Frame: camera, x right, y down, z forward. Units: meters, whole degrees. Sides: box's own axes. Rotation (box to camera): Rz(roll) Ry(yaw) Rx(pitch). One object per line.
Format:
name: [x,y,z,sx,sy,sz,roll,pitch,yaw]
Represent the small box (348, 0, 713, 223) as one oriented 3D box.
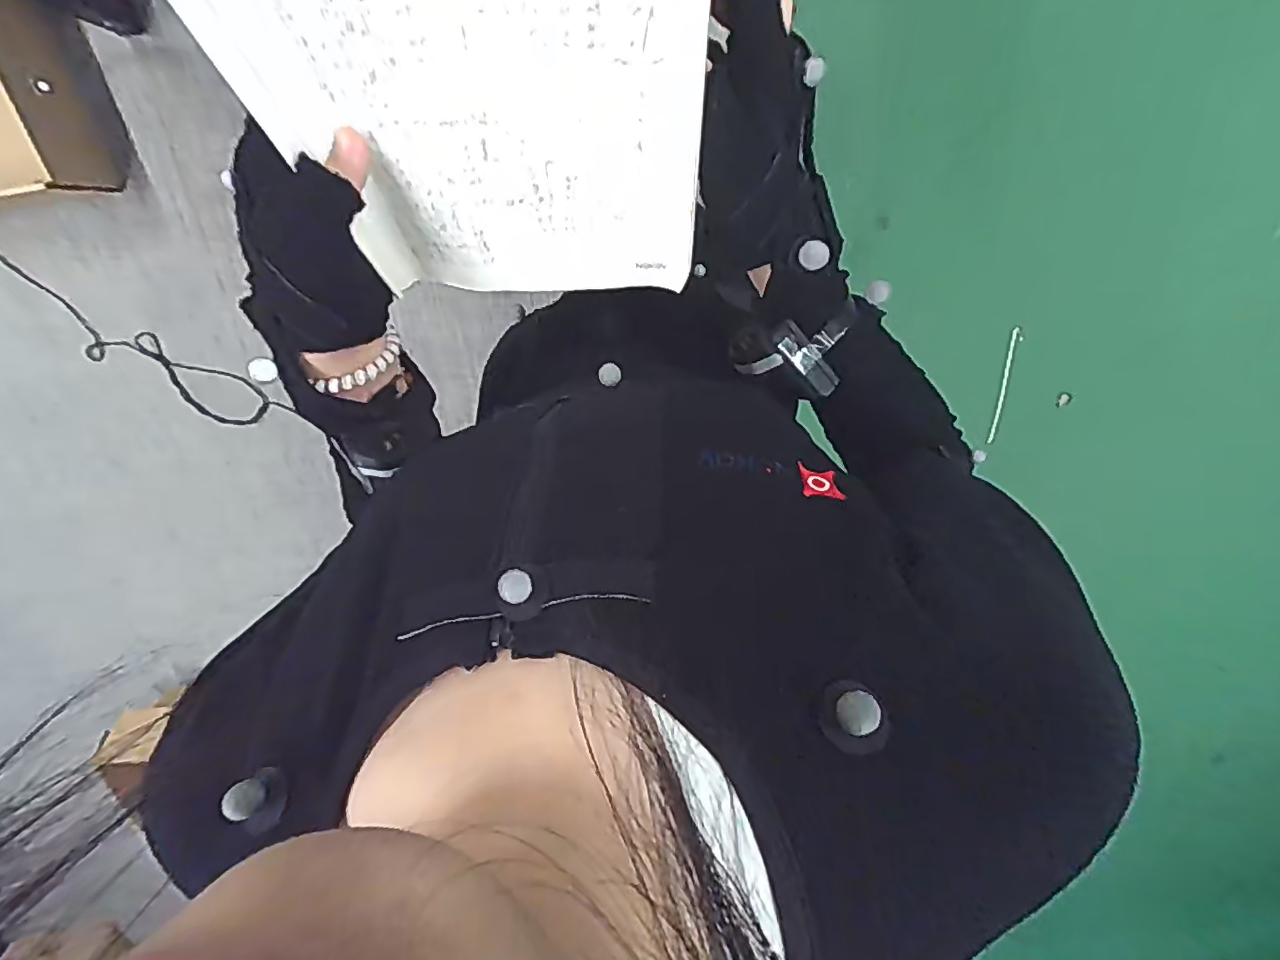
small box: [-0.053,-0.274,0.313,0.168,0.176,0.179,-7,129,8]
